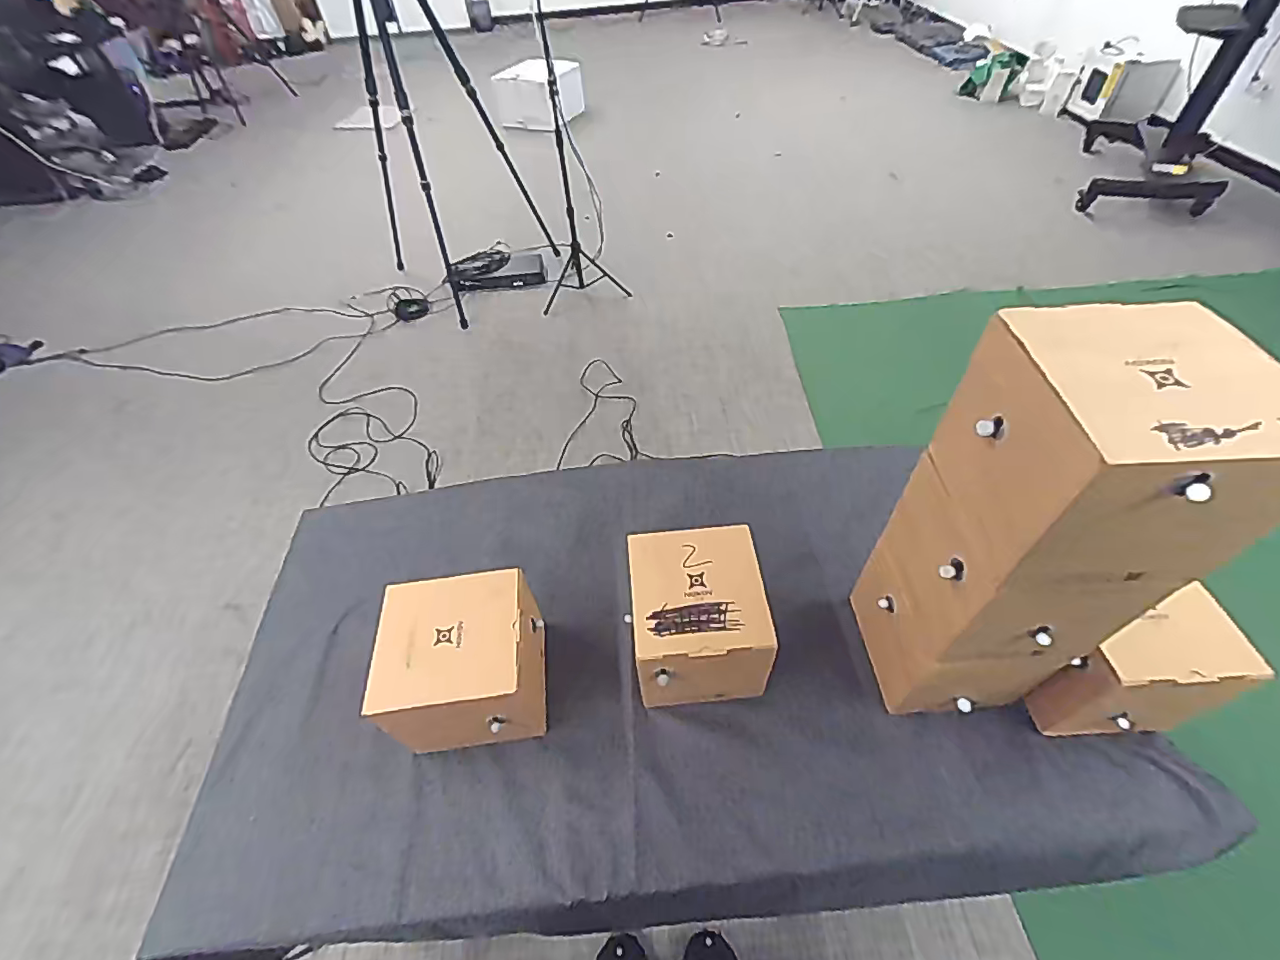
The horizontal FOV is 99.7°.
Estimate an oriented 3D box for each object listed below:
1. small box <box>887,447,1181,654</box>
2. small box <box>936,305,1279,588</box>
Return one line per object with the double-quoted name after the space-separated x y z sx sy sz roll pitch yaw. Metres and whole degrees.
0.395 0.078 0.586 0.168 0.176 0.179 -3 49 2 "small box"
0.384 -0.027 0.459 0.168 0.176 0.179 -2 49 3 "small box"
